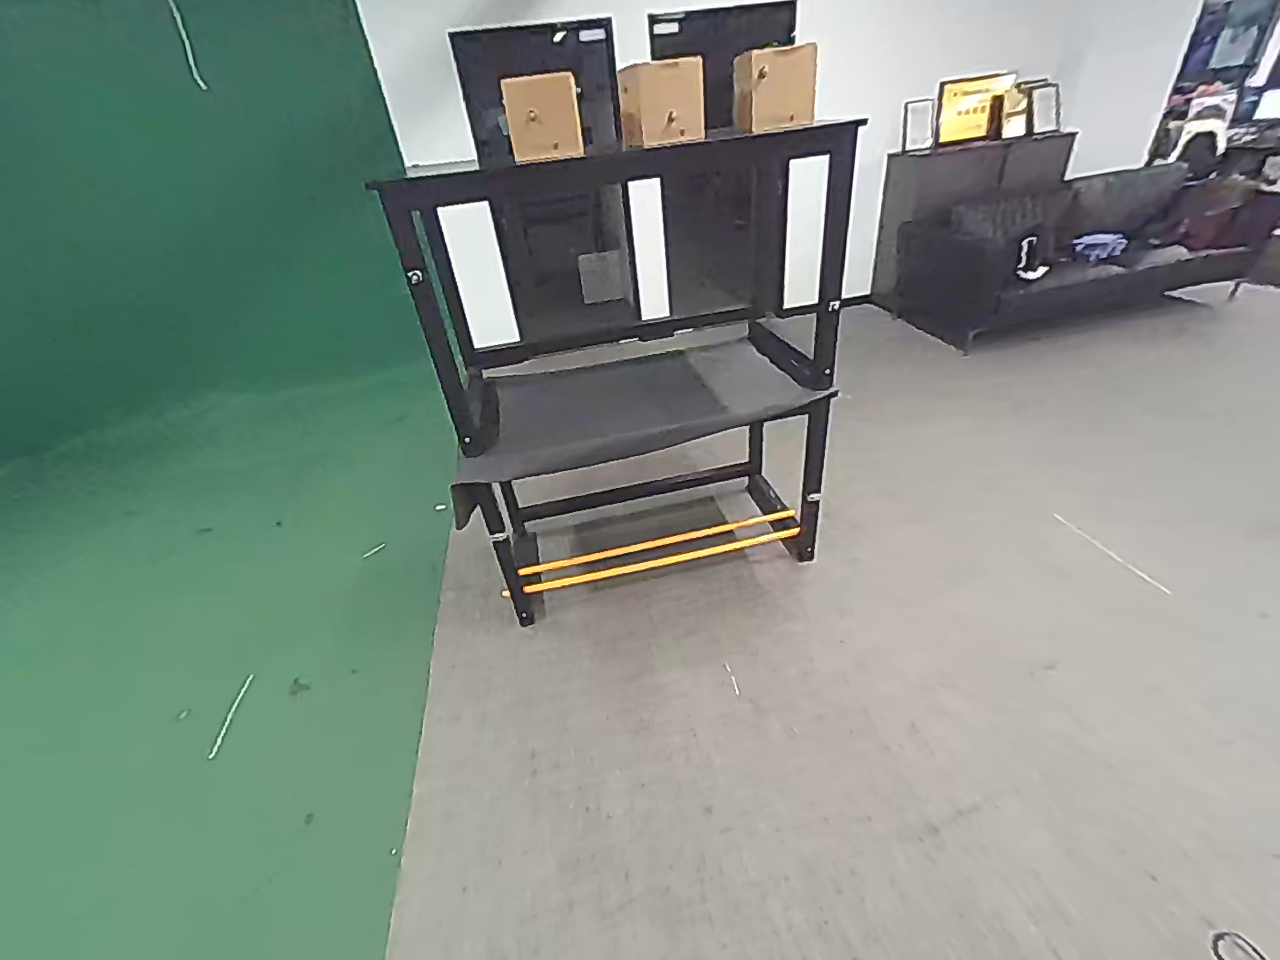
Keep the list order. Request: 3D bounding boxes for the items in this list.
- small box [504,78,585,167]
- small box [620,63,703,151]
[{"bbox_3d":[-0.234,-0.902,1.374,0.168,0.176,0.179,-7,33,0],"label":"small box"},{"bbox_3d":[0.055,-0.952,1.393,0.168,0.176,0.179,-15,34,-10],"label":"small box"}]
